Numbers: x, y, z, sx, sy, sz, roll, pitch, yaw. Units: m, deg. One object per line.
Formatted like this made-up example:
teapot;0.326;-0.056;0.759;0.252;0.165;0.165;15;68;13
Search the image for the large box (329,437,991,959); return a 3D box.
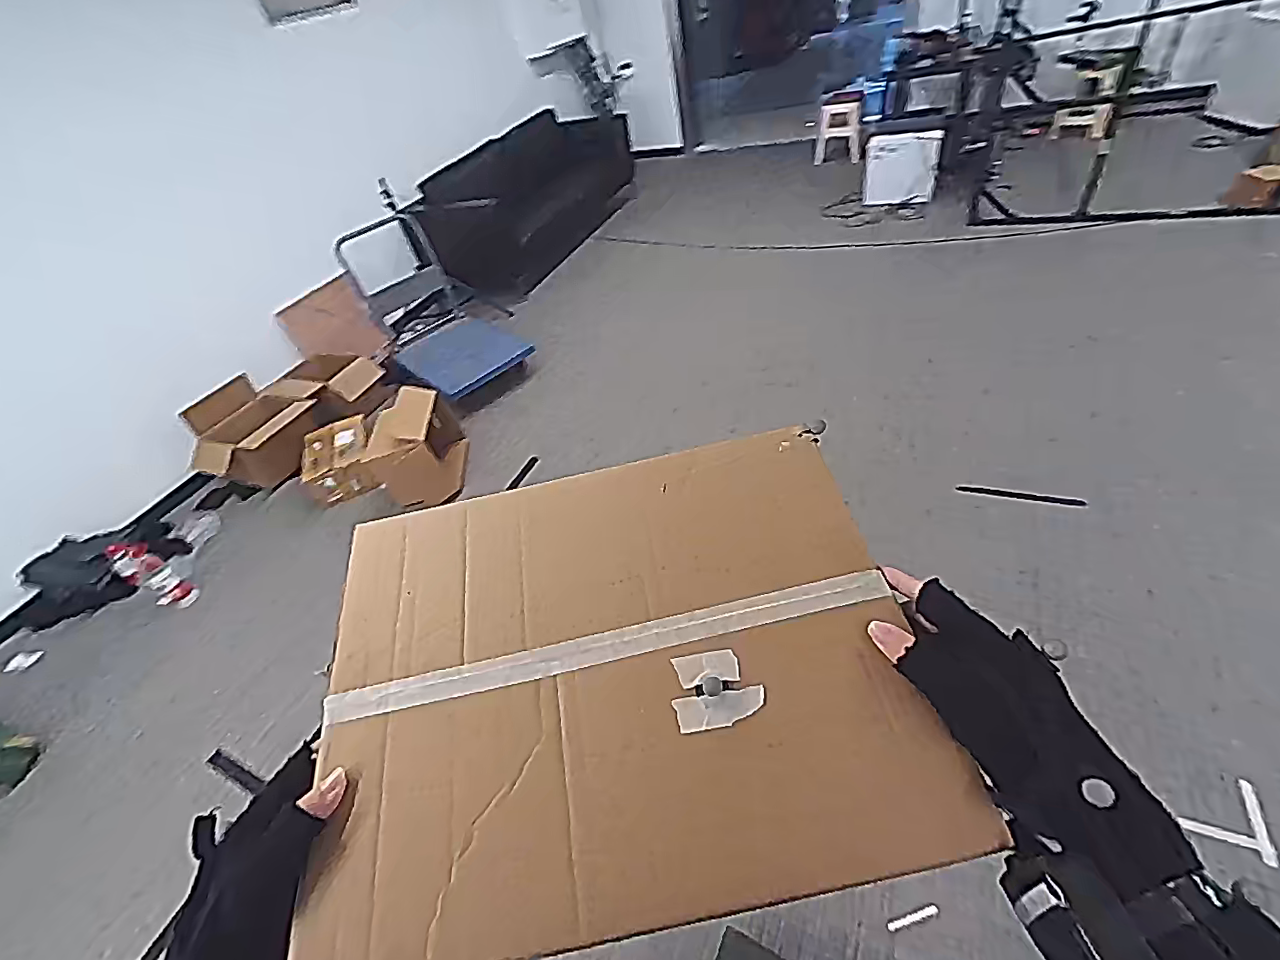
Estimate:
large box;0.004;0.209;0.517;0.408;0.320;0.320;-12;54;0
